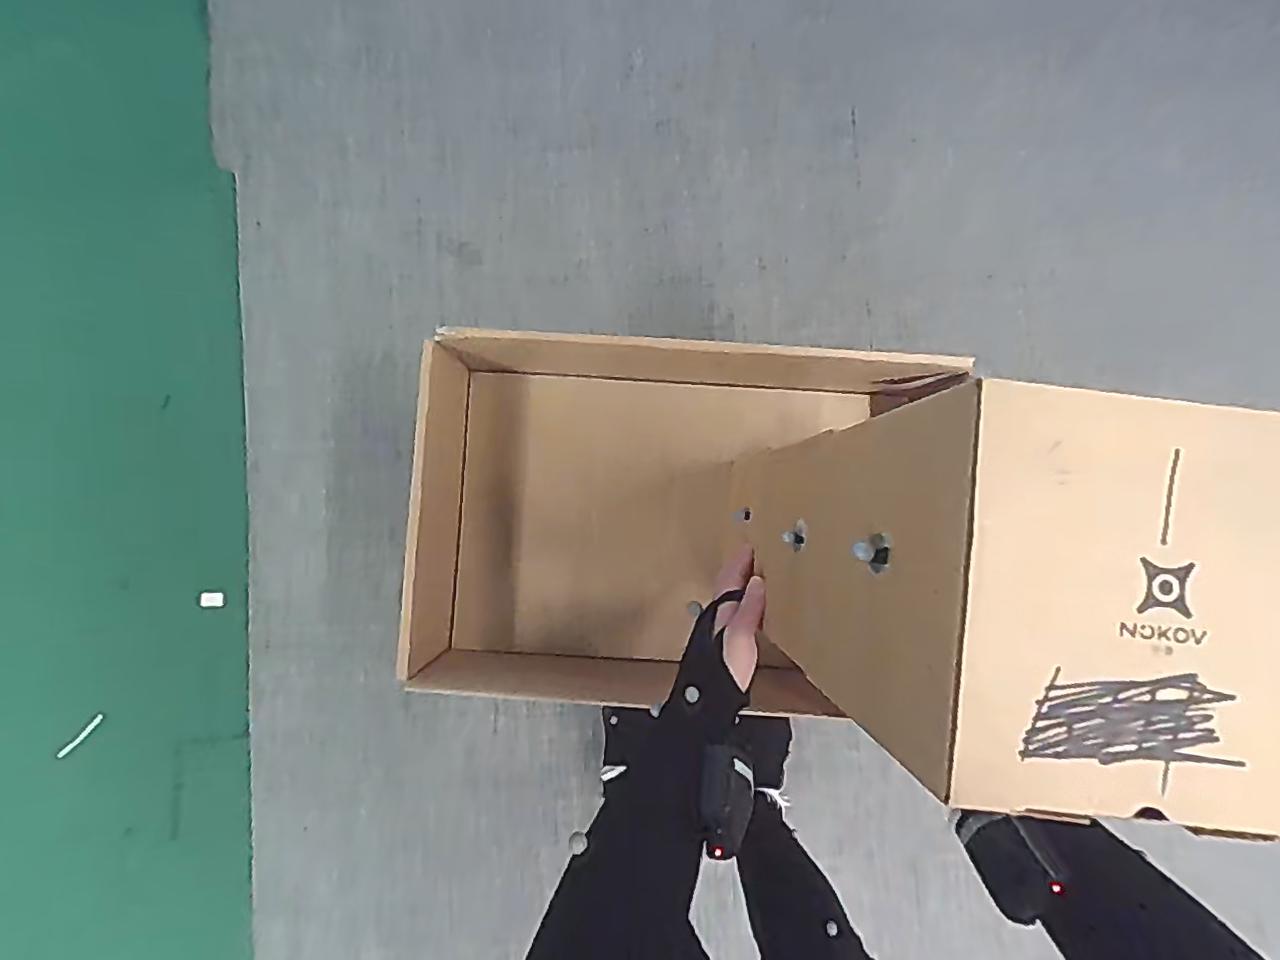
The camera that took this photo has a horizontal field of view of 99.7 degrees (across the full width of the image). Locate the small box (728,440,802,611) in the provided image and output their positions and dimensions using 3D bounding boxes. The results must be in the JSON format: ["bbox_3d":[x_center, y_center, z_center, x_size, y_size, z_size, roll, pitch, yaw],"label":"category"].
[{"bbox_3d":[0.202,0.061,0.619,0.168,0.176,0.179,7,86,-1],"label":"small box"}]

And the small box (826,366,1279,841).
[{"bbox_3d":[0.213,0.054,0.293,0.168,0.176,0.179,7,86,-1],"label":"small box"}]

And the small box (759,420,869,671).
[{"bbox_3d":[0.207,0.058,0.457,0.168,0.176,0.179,7,87,-2],"label":"small box"}]
